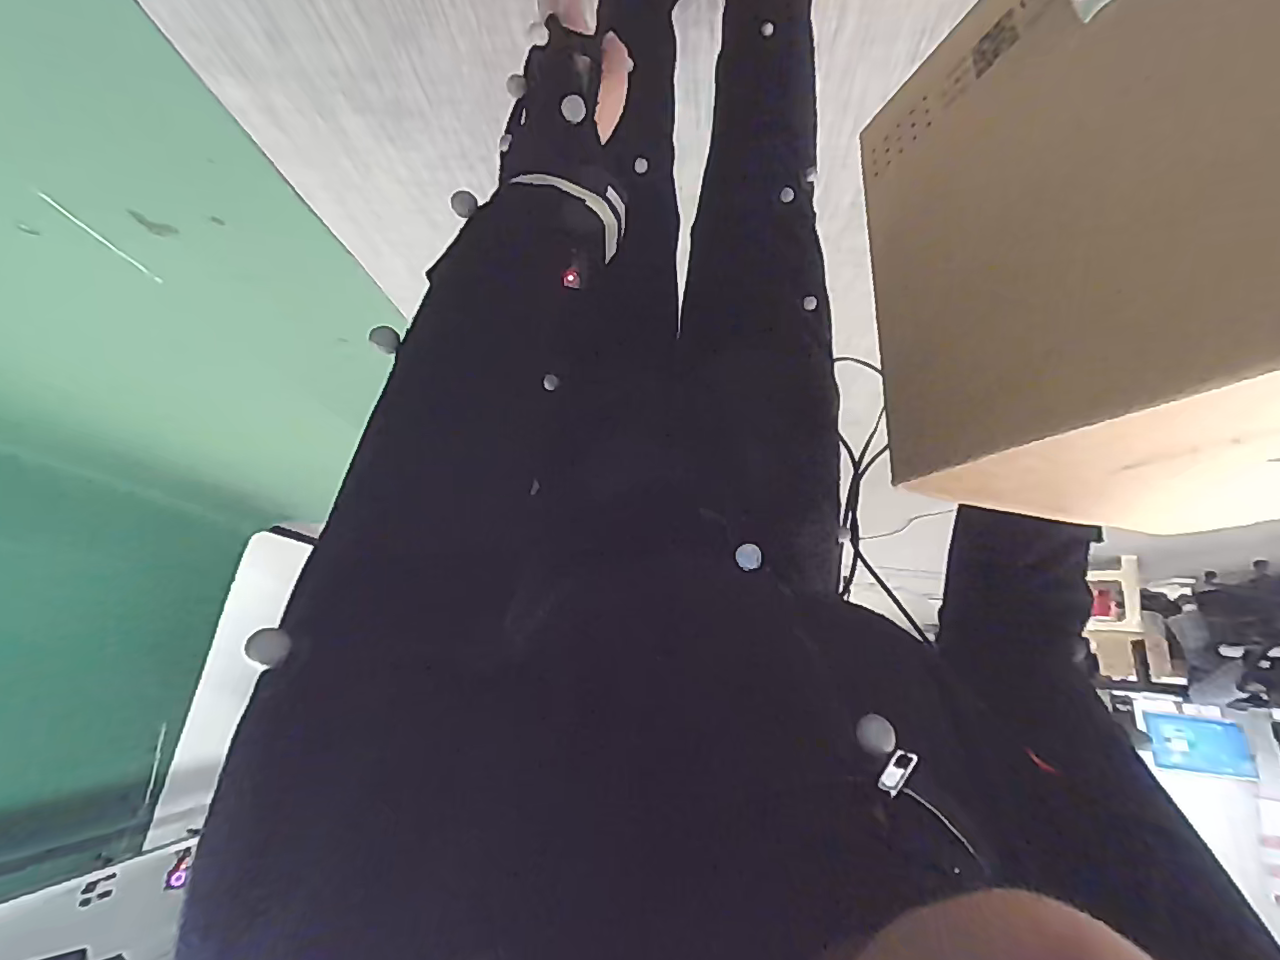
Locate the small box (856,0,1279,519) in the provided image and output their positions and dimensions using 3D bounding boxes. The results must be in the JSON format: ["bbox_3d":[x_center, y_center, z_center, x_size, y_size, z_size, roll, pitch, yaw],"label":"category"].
[{"bbox_3d":[0.201,-0.093,0.183,0.179,0.176,0.168,9,161,-19],"label":"small box"}]
